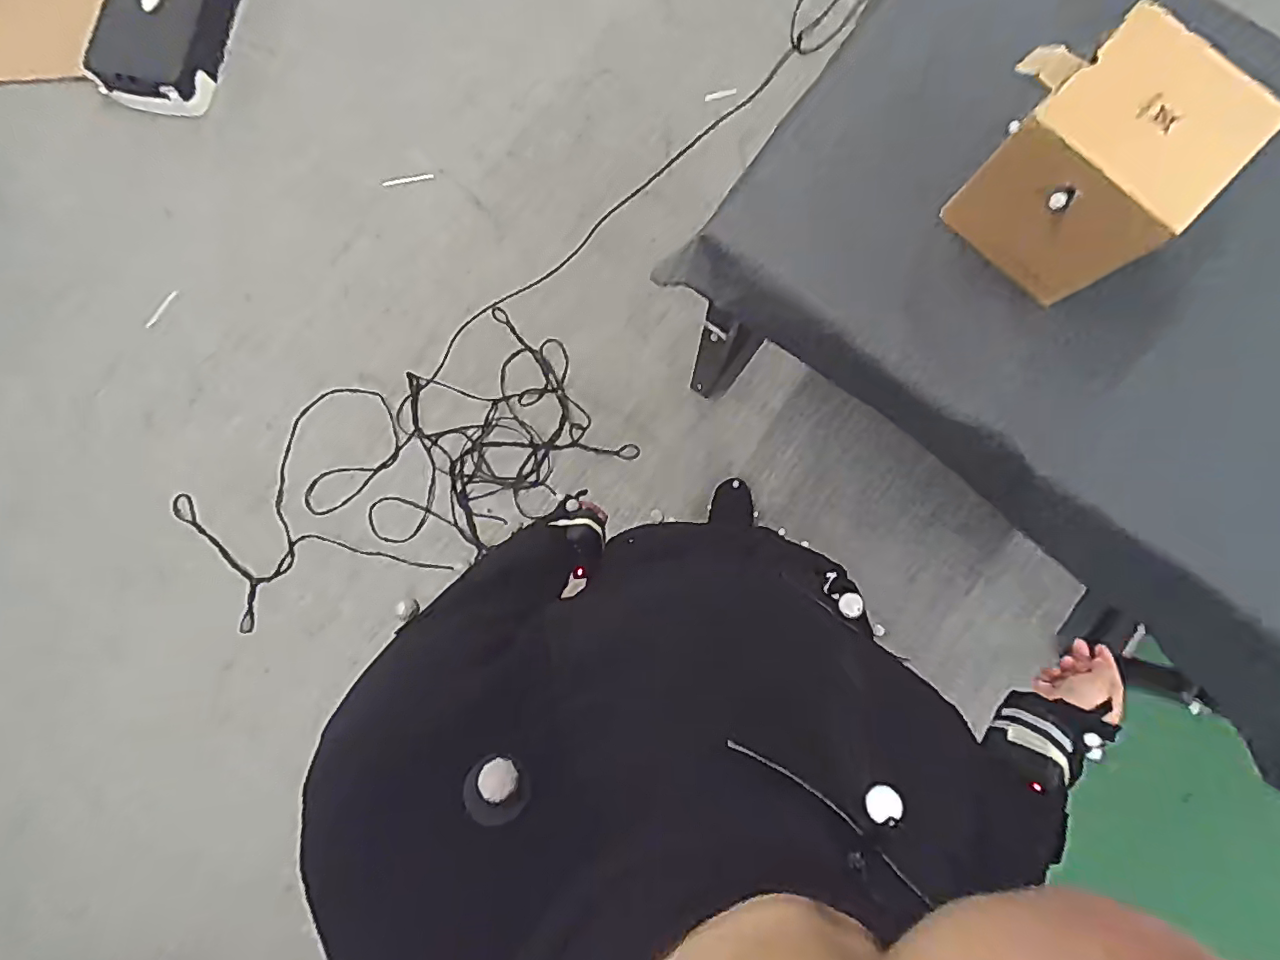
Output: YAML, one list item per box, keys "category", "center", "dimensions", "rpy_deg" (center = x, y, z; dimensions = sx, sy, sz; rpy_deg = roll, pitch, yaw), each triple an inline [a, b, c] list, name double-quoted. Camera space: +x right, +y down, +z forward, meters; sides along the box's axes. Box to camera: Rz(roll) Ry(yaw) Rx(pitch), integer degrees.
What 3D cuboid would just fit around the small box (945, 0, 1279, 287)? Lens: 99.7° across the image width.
- category: "small box"
  center: [0.486, -0.339, 0.586]
  dimensions: [0.179, 0.176, 0.168]
  rpy_deg: [44, 87, 5]
